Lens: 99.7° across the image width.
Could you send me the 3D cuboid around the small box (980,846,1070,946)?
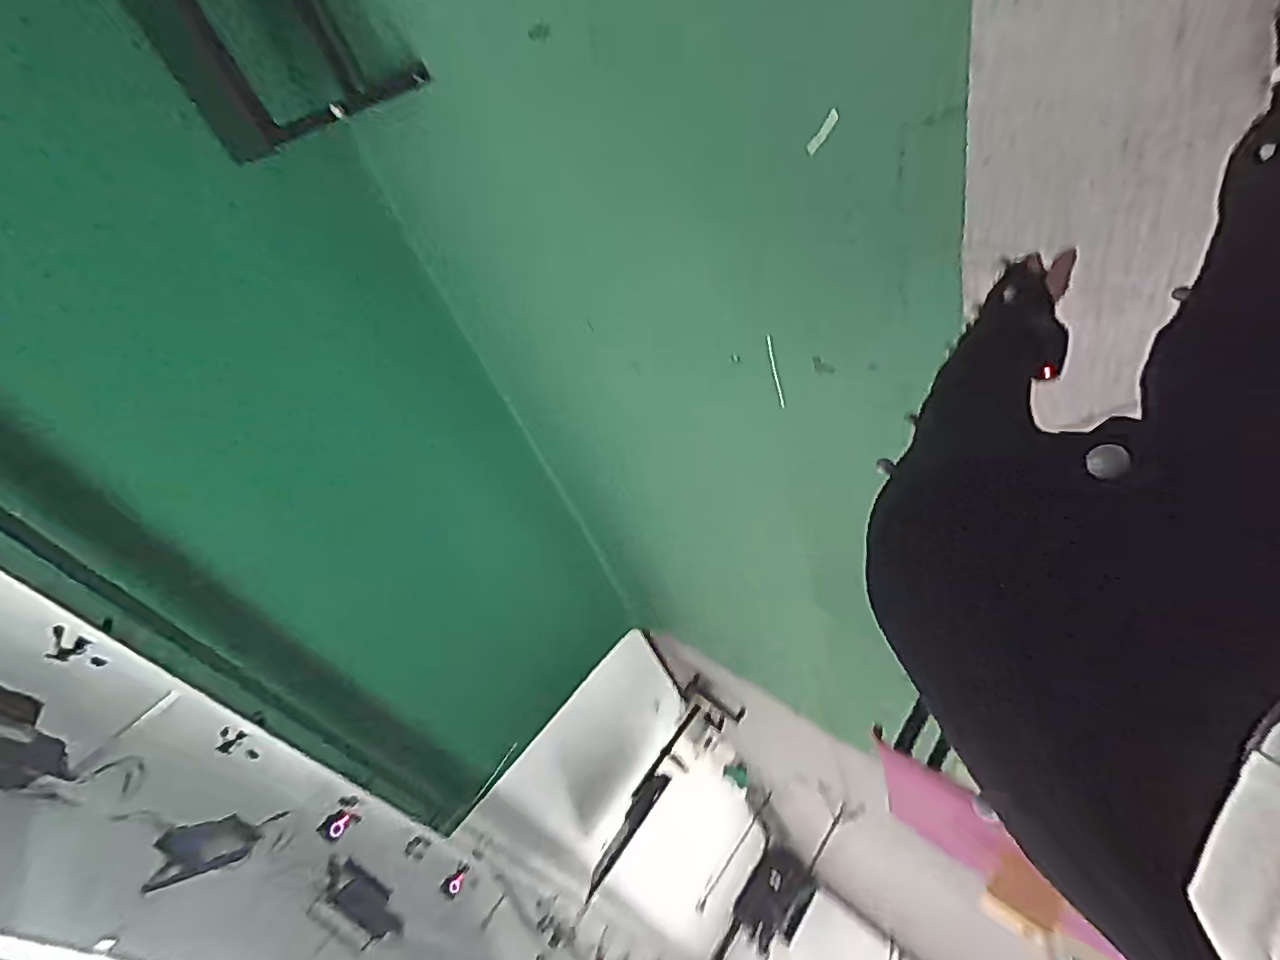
[{"bbox_3d":[1.207,1.301,1.694,0.179,0.176,0.168,25,148,39],"label":"small box"}]
